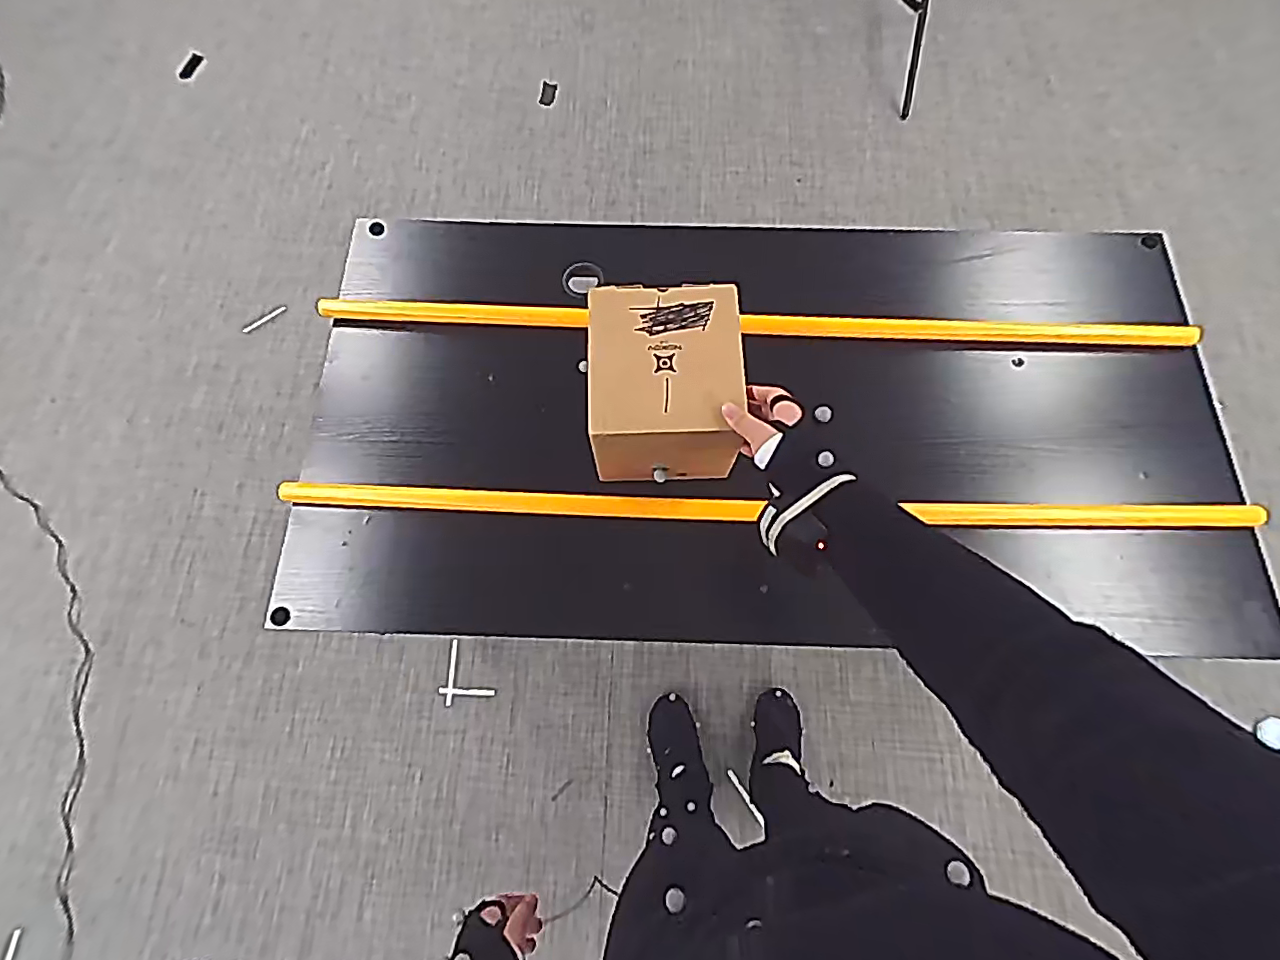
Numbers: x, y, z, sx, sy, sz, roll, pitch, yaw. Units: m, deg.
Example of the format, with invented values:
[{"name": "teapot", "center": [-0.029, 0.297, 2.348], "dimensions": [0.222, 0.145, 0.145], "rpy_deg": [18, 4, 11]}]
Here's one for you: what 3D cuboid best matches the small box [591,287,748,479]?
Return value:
[{"name": "small box", "center": [0.029, -0.109, 0.655], "dimensions": [0.168, 0.176, 0.179], "rpy_deg": [-2, 74, 0]}]
